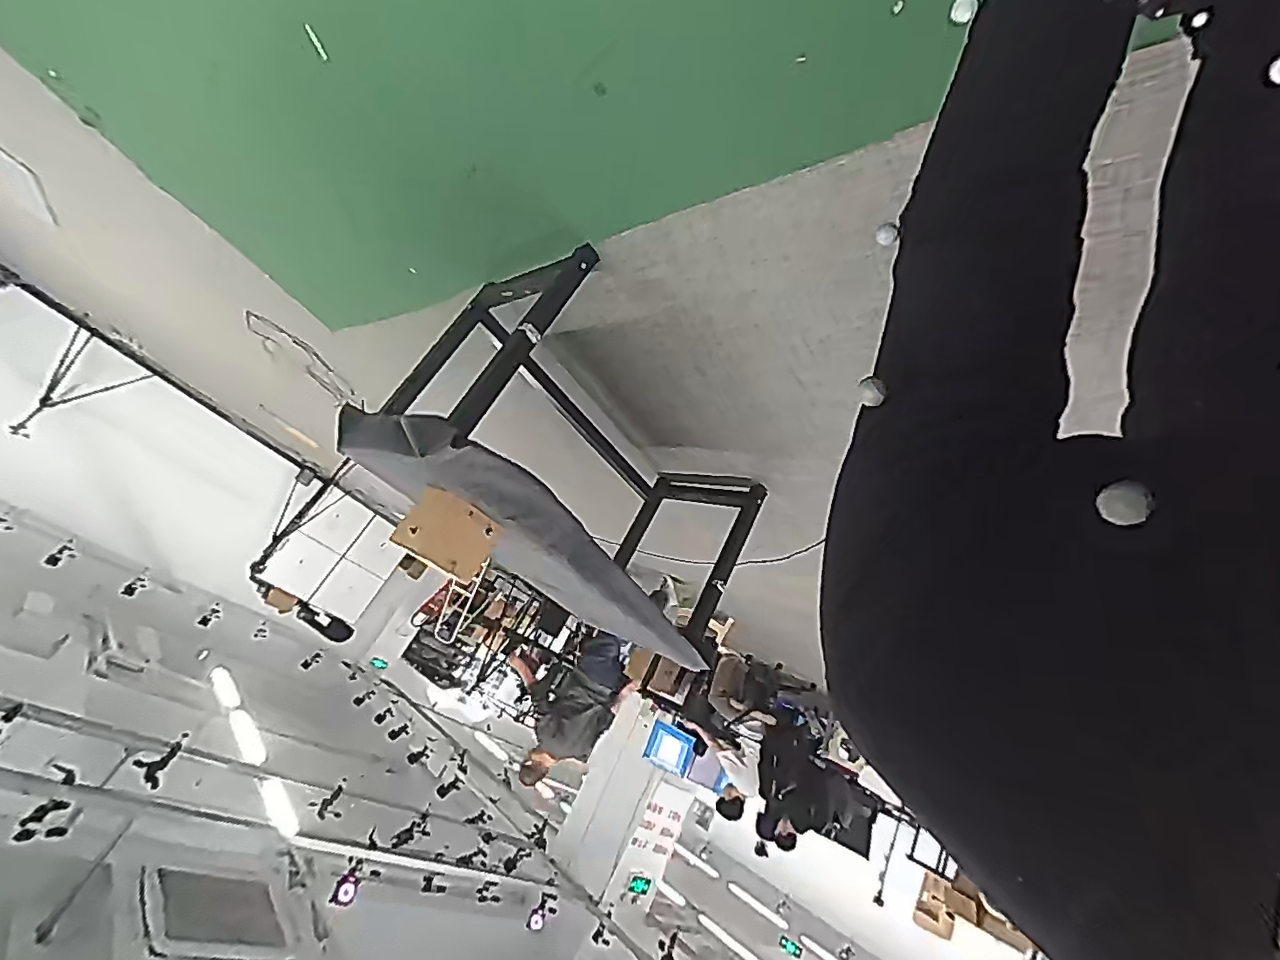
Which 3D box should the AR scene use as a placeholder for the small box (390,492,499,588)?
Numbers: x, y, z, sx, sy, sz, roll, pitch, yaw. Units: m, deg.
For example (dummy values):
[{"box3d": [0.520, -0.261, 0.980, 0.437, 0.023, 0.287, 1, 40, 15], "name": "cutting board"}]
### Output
[{"box3d": [-0.484, 0.146, 1.364, 0.179, 0.176, 0.168, 8, 150, 46], "name": "small box"}]
